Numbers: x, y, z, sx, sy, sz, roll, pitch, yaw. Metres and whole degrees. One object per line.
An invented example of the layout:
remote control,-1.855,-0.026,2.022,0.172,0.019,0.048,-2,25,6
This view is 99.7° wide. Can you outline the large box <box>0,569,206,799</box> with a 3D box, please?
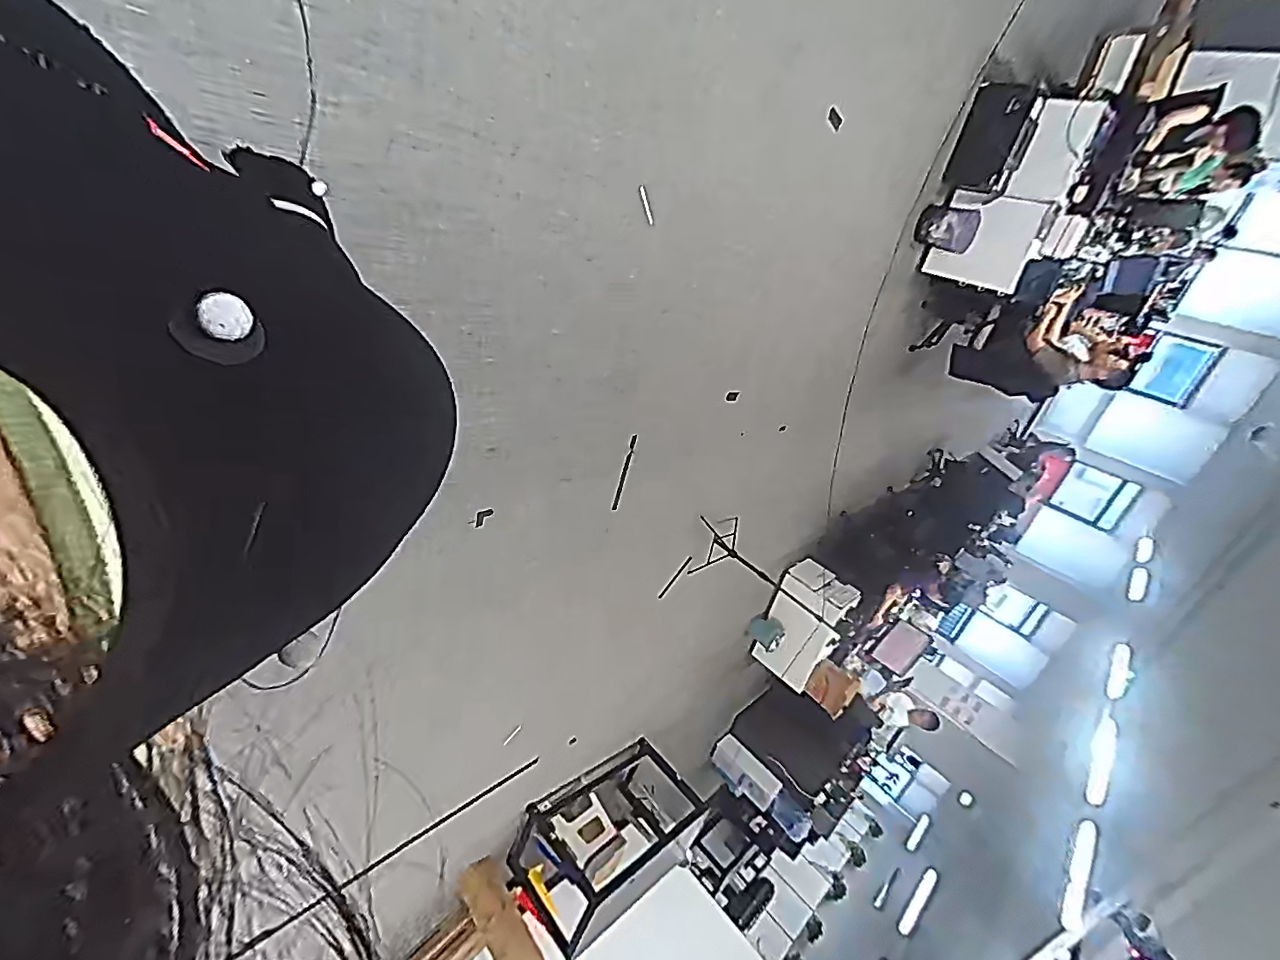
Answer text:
large box,-1.283,0.444,1.236,0.408,0.320,0.320,-5,122,-49
